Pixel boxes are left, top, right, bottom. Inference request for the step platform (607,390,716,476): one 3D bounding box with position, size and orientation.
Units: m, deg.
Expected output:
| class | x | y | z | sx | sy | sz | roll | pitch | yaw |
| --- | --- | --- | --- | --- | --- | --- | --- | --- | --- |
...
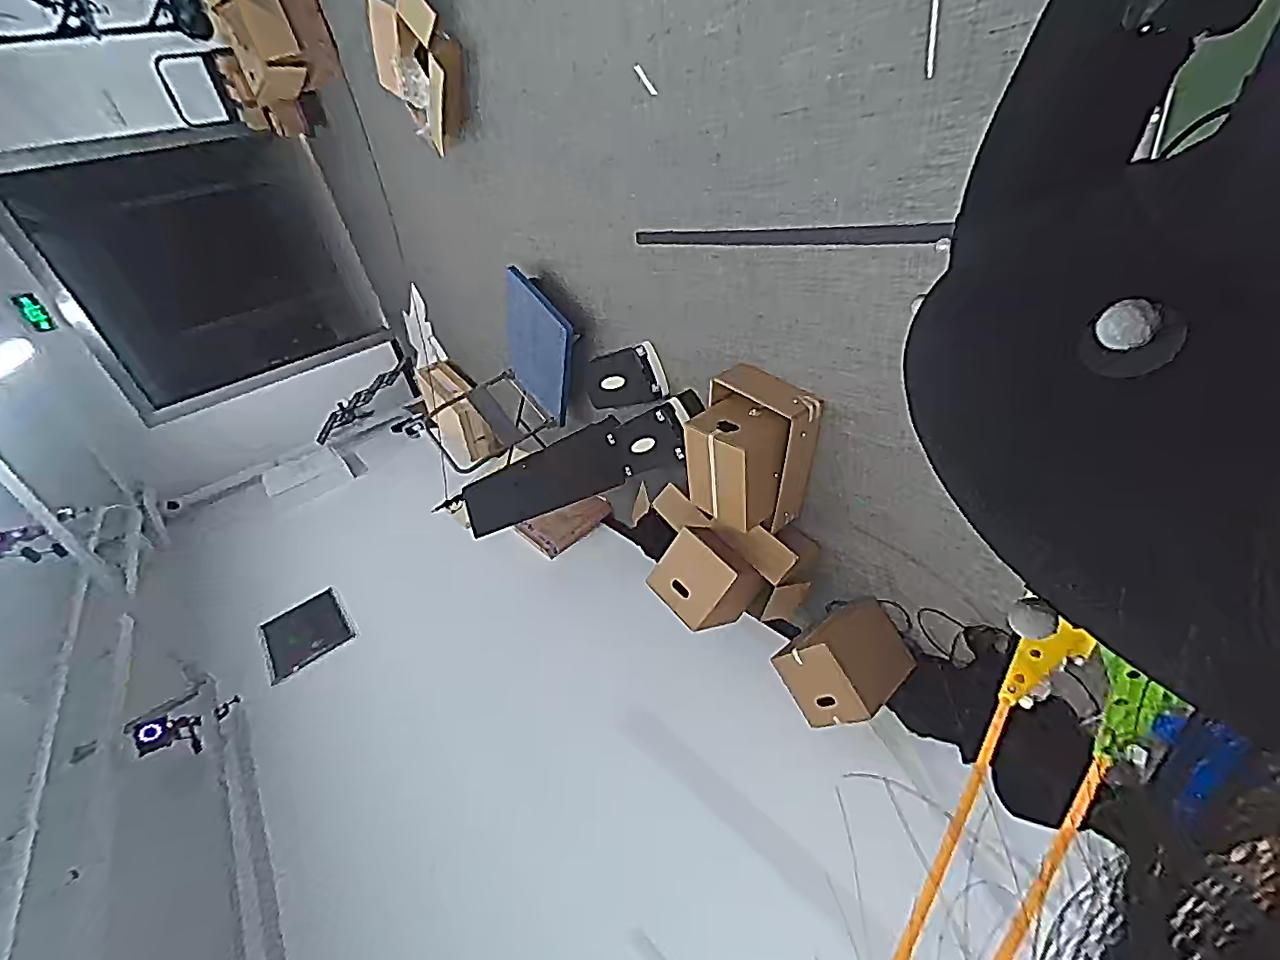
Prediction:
| class | x | y | z | sx | sy | sz | roll | pitch | yaw |
| --- | --- | --- | --- | --- | --- | --- | --- | --- | --- |
| step platform | 0.082 | -0.220 | 2.752 | 0.286 | 0.204 | 0.684 | 62 | 152 | -6 |
